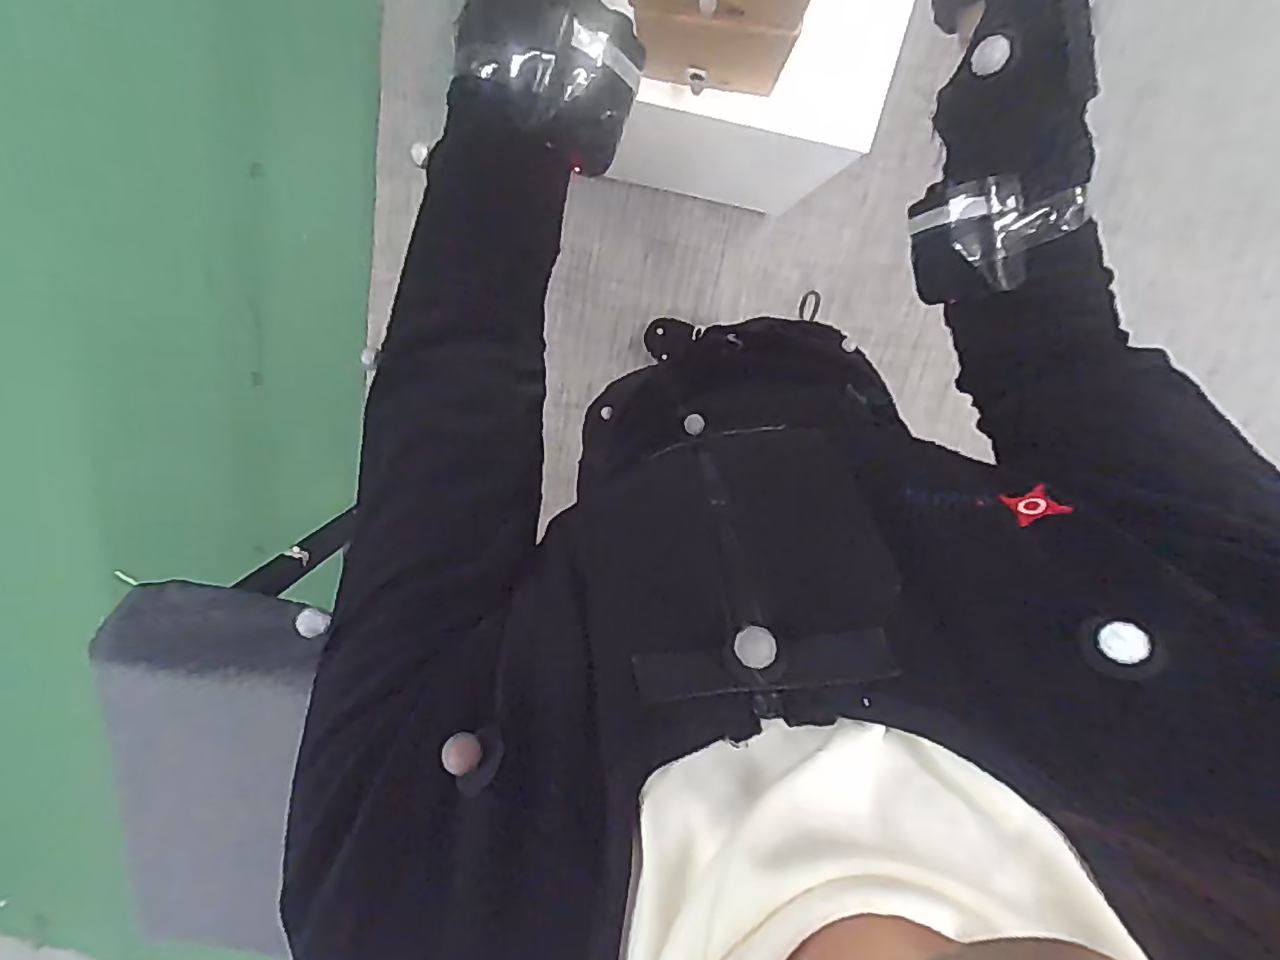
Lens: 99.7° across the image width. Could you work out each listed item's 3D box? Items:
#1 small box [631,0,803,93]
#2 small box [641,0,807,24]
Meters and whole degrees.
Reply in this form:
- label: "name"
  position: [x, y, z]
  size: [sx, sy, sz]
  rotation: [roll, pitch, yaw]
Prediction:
- label: "small box"
  position: [0.087, -0.543, 0.564]
  size: [0.168, 0.176, 0.179]
  rotation: [8, 110, 2]
- label: "small box"
  position: [0.074, -0.497, 0.407]
  size: [0.168, 0.176, 0.179]
  rotation: [6, 107, 2]
